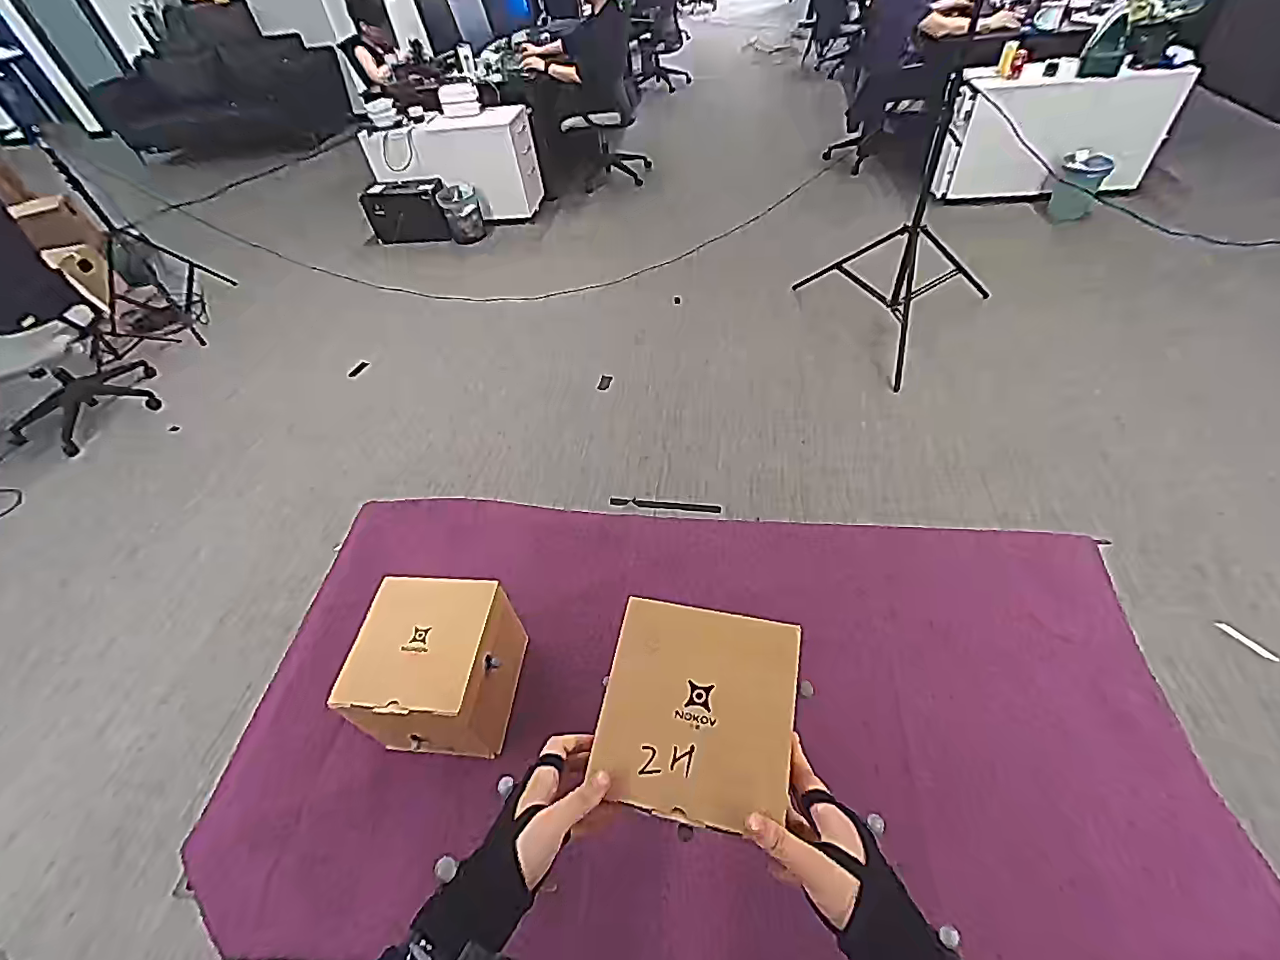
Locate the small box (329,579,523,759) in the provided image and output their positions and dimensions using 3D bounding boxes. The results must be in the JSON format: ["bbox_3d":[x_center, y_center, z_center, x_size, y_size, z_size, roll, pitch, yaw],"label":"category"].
[{"bbox_3d":[-0.268,0.256,0.732,0.168,0.176,0.179,1,49,7],"label":"small box"}]

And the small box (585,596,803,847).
[{"bbox_3d":[0.062,0.238,0.536,0.168,0.176,0.179,7,59,15],"label":"small box"}]
